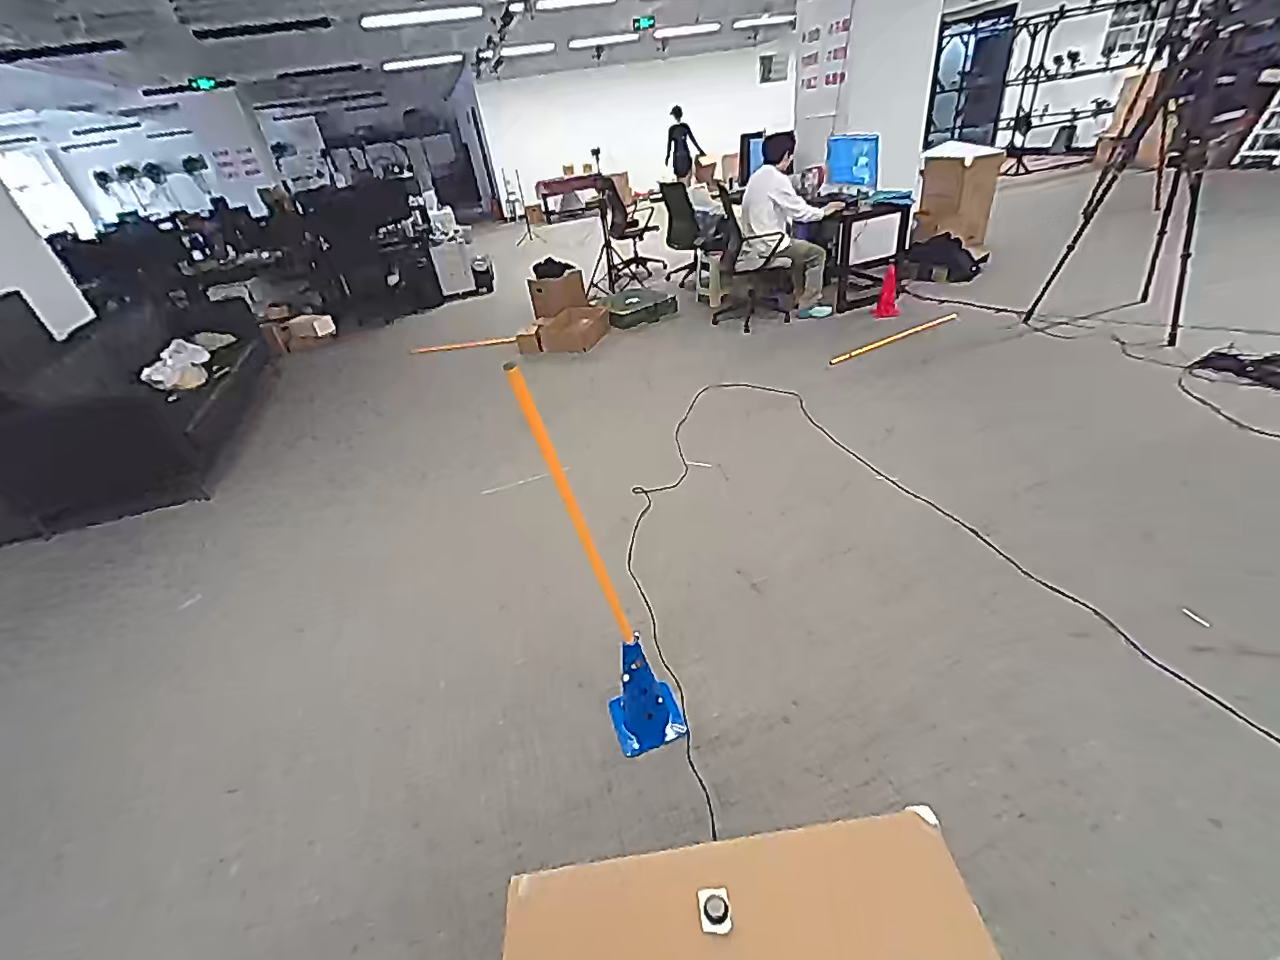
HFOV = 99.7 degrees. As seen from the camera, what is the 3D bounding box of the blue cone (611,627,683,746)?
[{"bbox_3d":[-0.004,0.565,1.547,0.193,0.380,0.192,-20,35,-13],"label":"blue cone"}]
